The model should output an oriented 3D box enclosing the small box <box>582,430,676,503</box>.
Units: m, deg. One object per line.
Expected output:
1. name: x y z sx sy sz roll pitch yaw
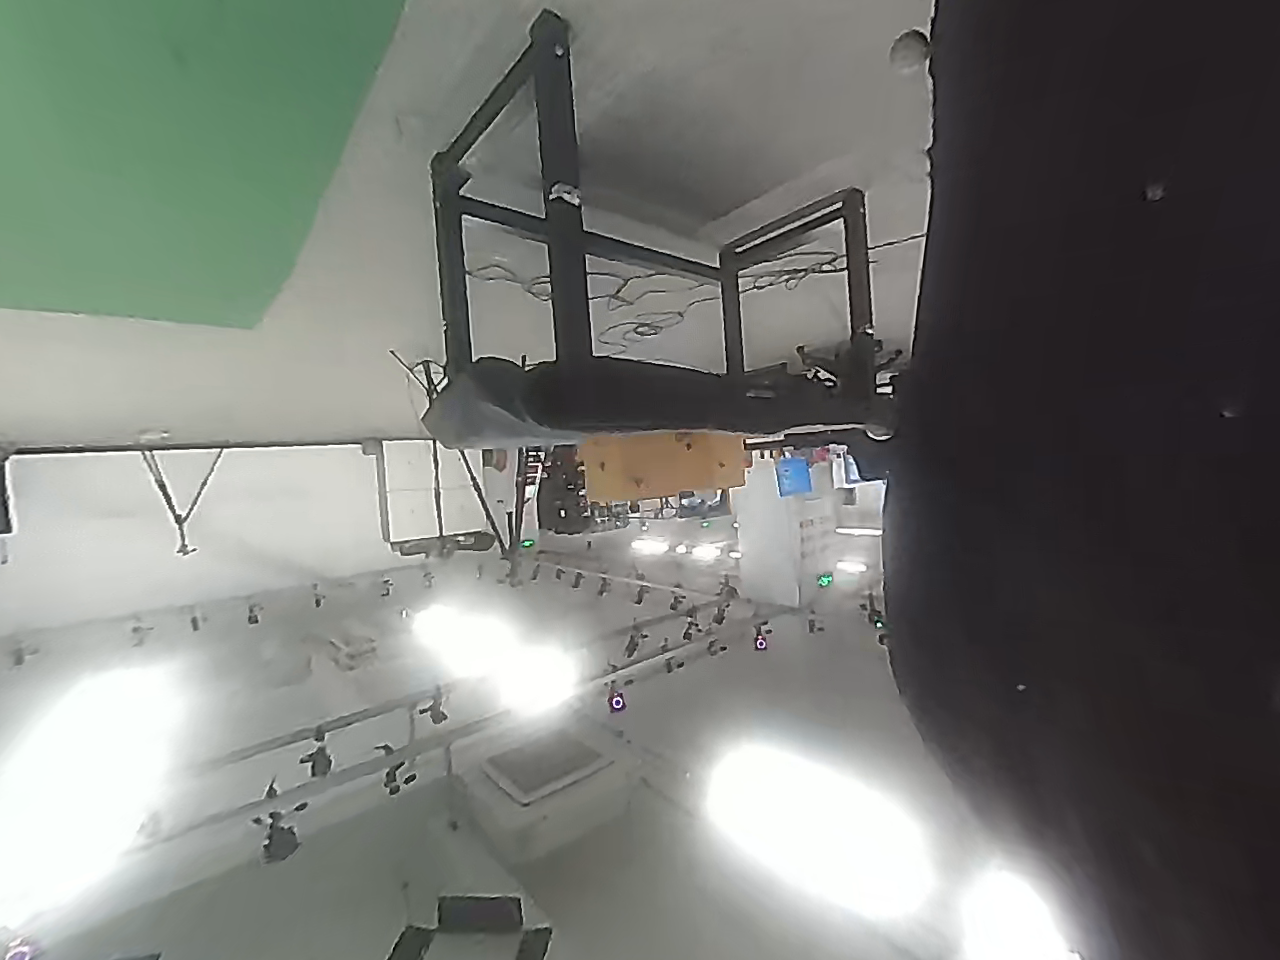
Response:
1. small box: -0.031 -0.034 1.363 0.179 0.176 0.168 -5 -178 -39
